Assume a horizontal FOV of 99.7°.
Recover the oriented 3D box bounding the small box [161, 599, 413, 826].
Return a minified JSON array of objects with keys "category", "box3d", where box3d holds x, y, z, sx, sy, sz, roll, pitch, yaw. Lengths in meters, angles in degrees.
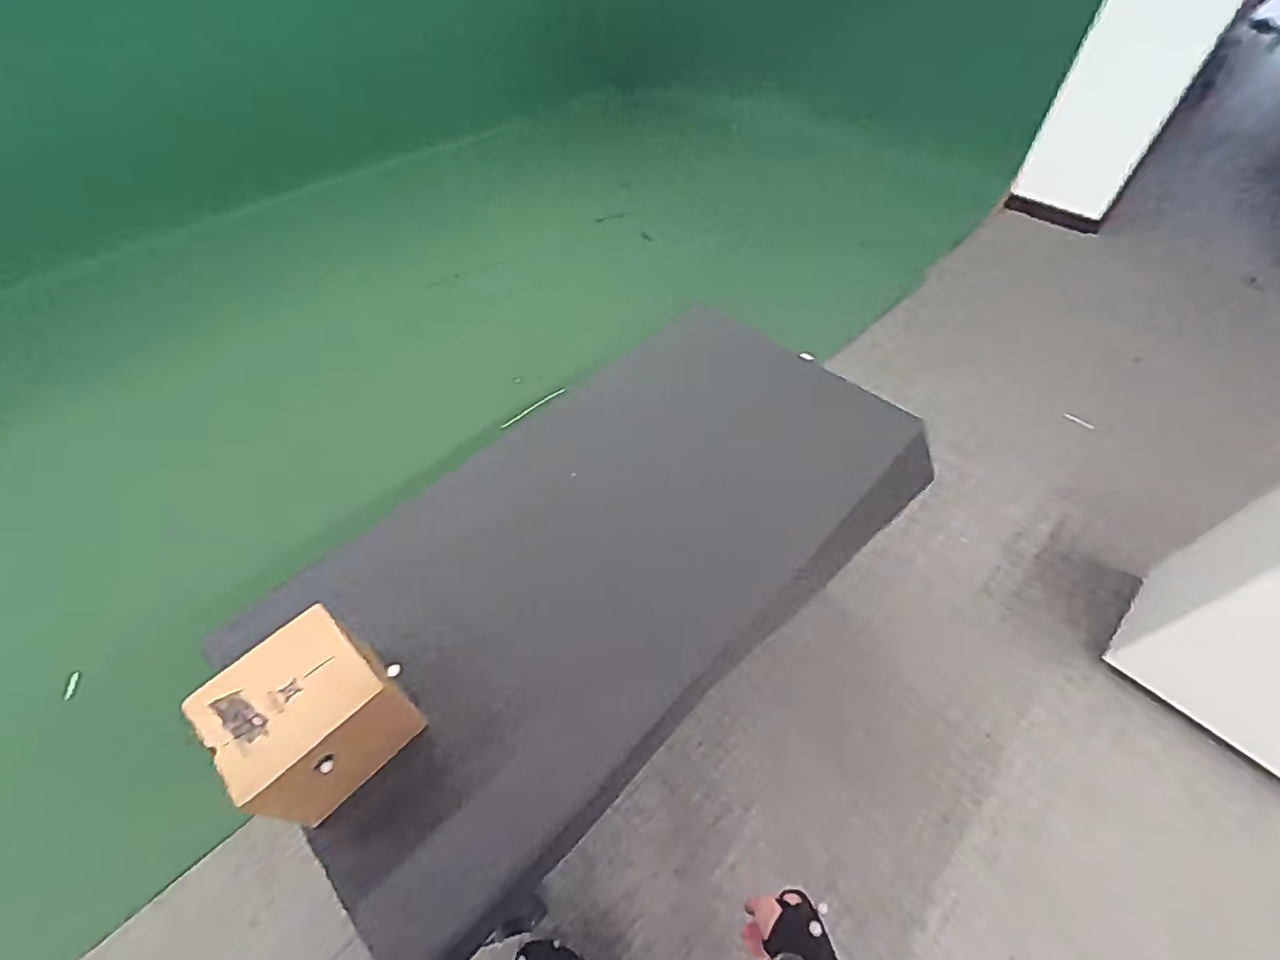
[{"category":"small box","box3d":[-0.419,0.290,0.671,0.168,0.176,0.179,36,58,23]}]
